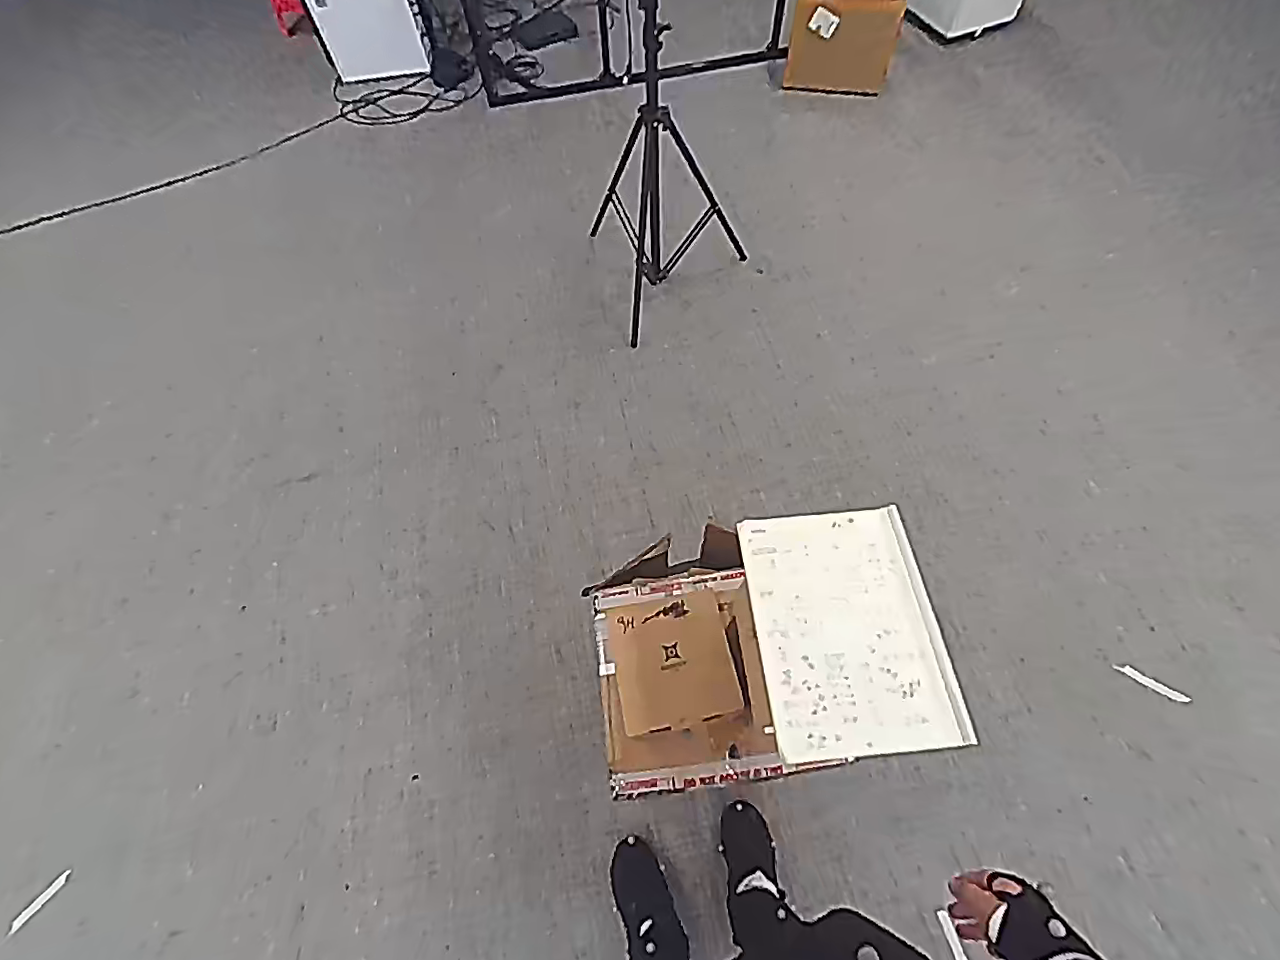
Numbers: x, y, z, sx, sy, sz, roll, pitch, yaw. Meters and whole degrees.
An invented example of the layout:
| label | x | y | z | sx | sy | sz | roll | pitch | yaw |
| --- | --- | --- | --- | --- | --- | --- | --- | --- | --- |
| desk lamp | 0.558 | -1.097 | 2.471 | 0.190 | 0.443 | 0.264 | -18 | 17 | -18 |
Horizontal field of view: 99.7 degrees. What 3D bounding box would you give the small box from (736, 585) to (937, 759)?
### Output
| label | x | y | z | sx | sy | sz | roll | pitch | yaw |
| --- | --- | --- | --- | --- | --- | --- | --- | --- | --- |
| small box | 0.222 | 0.242 | 0.669 | 0.168 | 0.176 | 0.179 | -4 | 64 | -2 |
